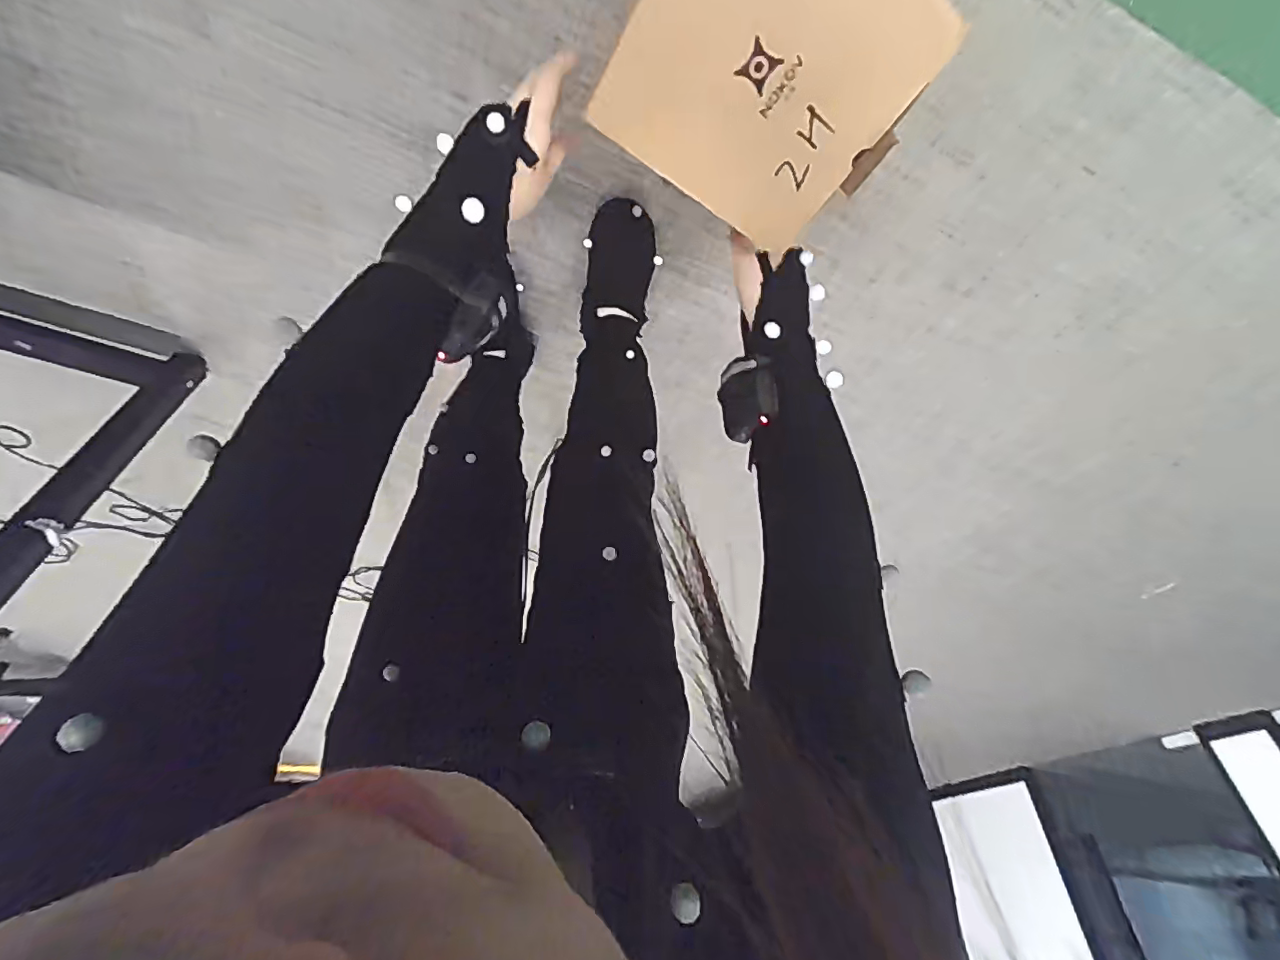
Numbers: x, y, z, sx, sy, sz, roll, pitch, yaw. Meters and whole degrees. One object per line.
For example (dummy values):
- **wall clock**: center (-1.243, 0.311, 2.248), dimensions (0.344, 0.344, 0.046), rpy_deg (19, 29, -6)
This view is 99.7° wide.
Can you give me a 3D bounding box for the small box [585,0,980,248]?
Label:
- **small box**: center (0.081, -0.309, 0.378), dimensions (0.179, 0.176, 0.168), rpy_deg (24, 134, -23)
